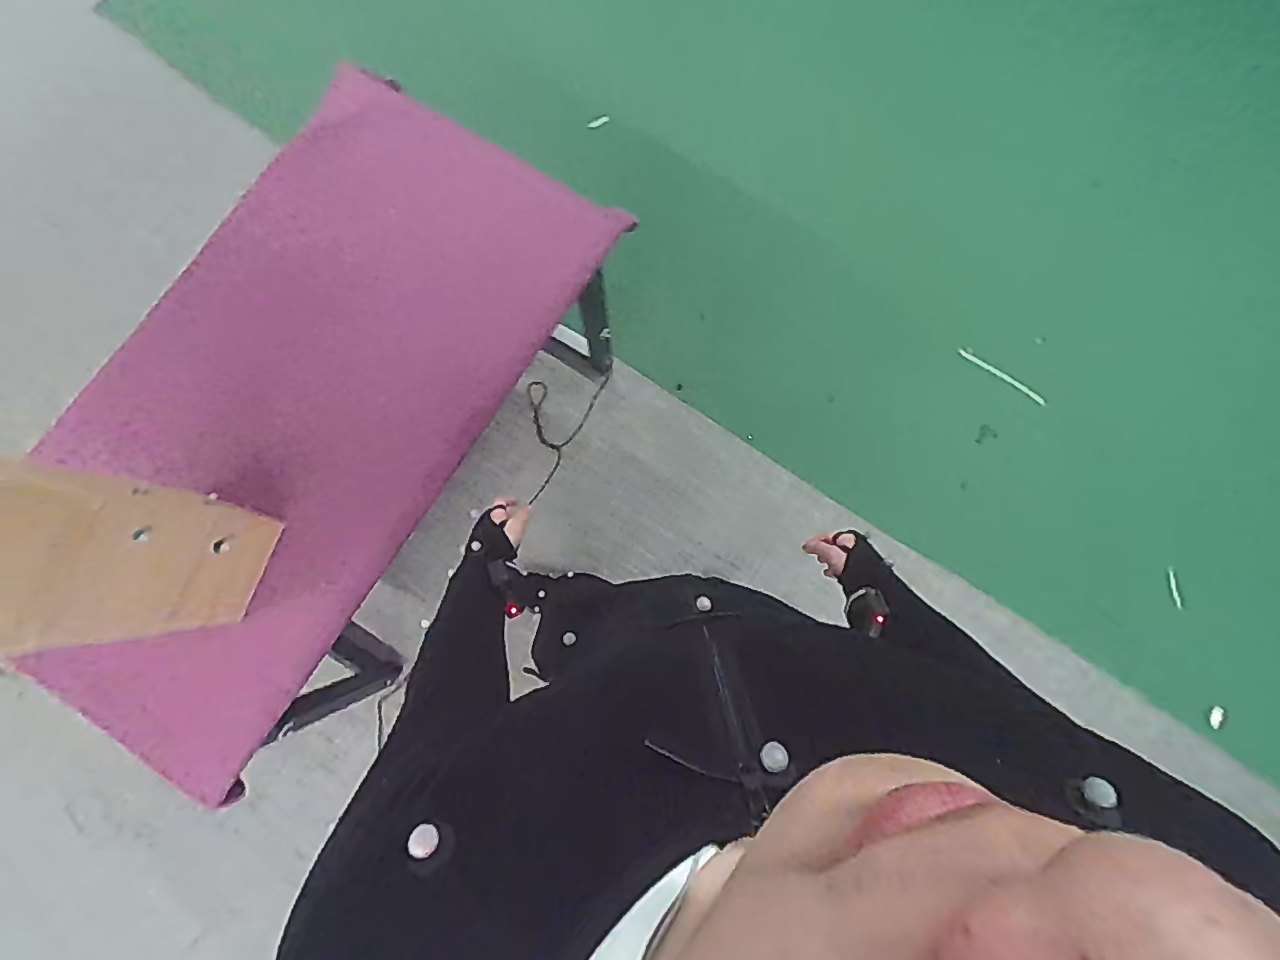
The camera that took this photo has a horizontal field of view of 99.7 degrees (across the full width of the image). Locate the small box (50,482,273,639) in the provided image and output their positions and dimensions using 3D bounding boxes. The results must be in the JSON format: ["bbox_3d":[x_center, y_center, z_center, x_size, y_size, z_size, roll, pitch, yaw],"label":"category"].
[{"bbox_3d":[-0.707,0.122,0.823,0.168,0.176,0.179,18,81,2],"label":"small box"}]
